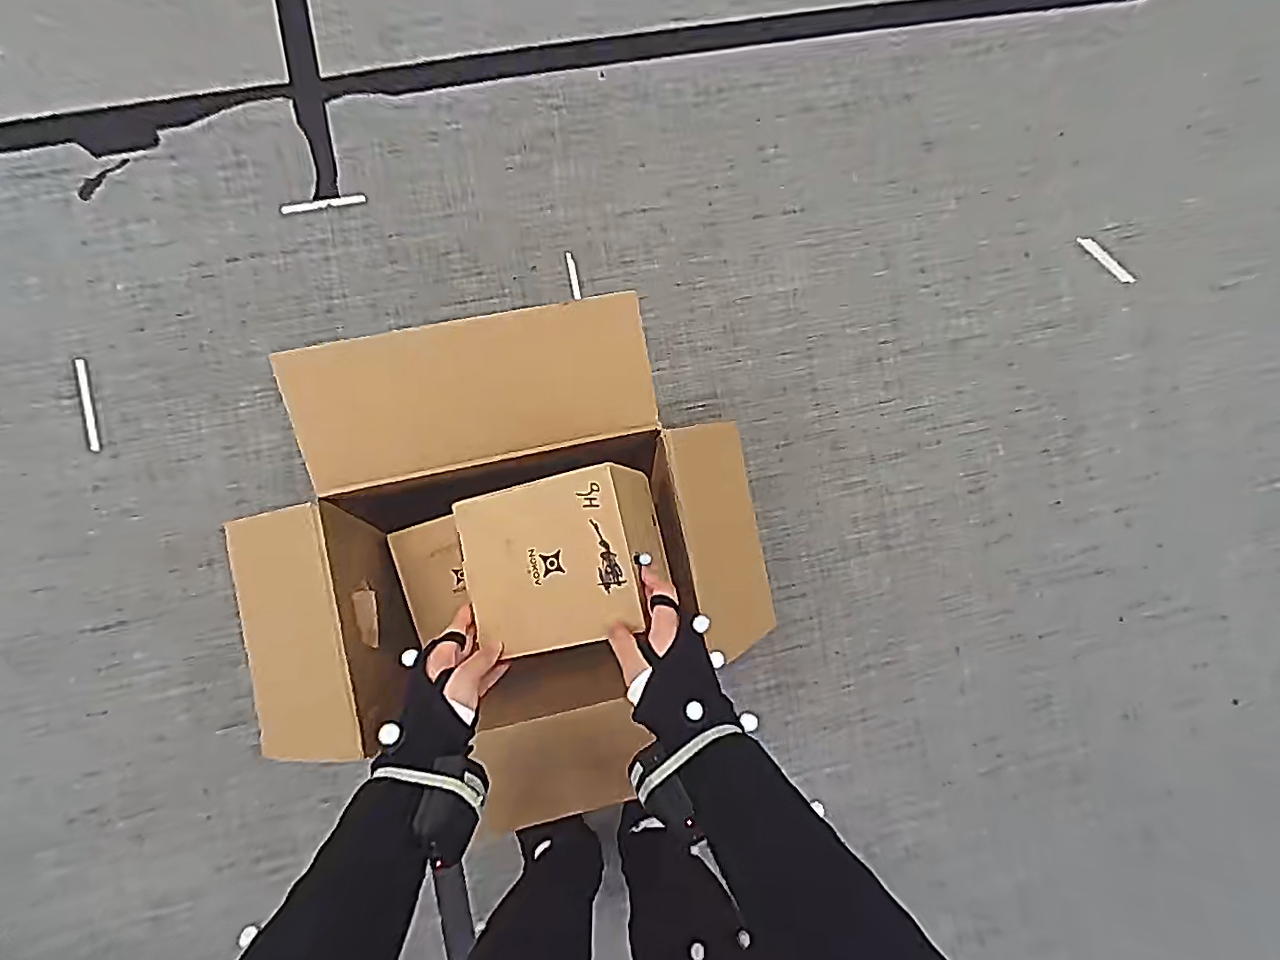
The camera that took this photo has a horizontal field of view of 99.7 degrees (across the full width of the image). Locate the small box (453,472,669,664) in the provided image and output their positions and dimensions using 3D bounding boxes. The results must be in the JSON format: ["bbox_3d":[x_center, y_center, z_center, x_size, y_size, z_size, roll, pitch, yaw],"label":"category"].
[{"bbox_3d":[-0.080,0.095,0.616,0.179,0.176,0.168,-14,84,12],"label":"small box"}]
